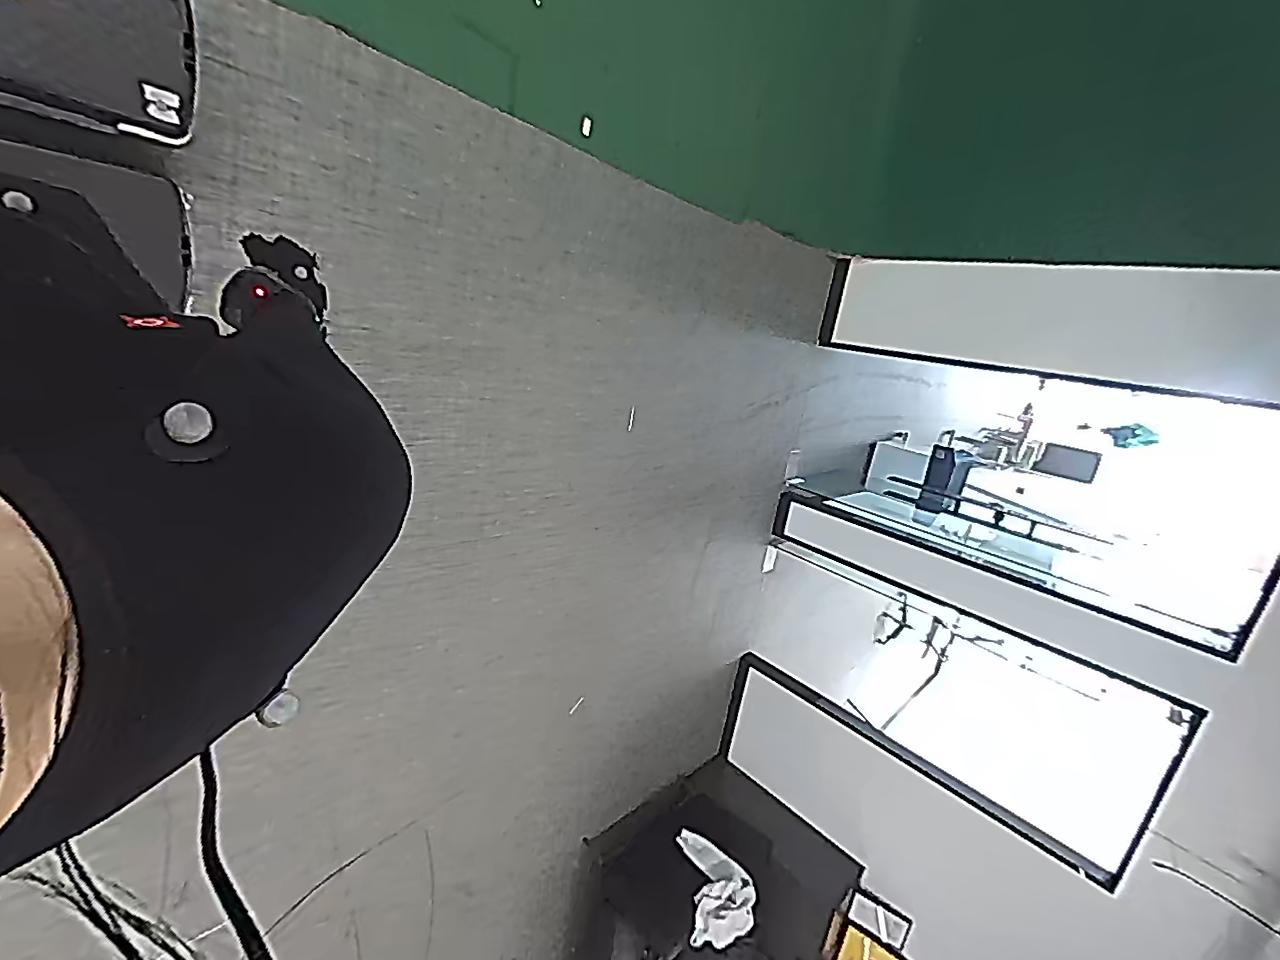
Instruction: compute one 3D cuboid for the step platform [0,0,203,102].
[{"bbox_3d":[-0.950,-0.725,0.620,0.684,0.204,0.286,-6,112,-45],"label":"step platform"}]
